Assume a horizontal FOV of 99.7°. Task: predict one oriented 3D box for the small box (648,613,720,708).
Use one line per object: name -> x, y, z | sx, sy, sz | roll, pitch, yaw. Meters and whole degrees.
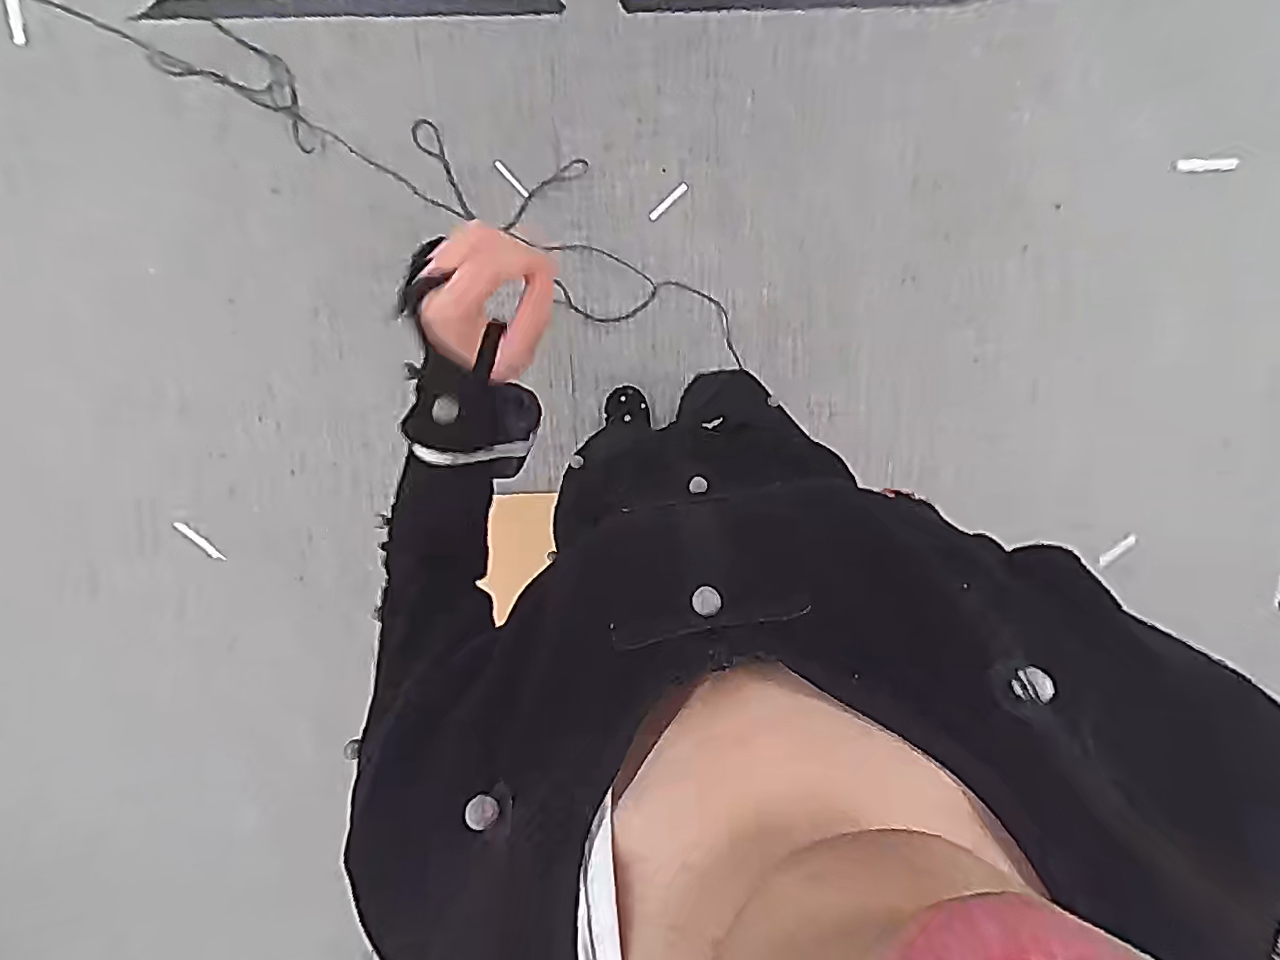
small box -> 0.117, 0.493, 1.491 | 0.168, 0.176, 0.179 | -11, 100, 0
